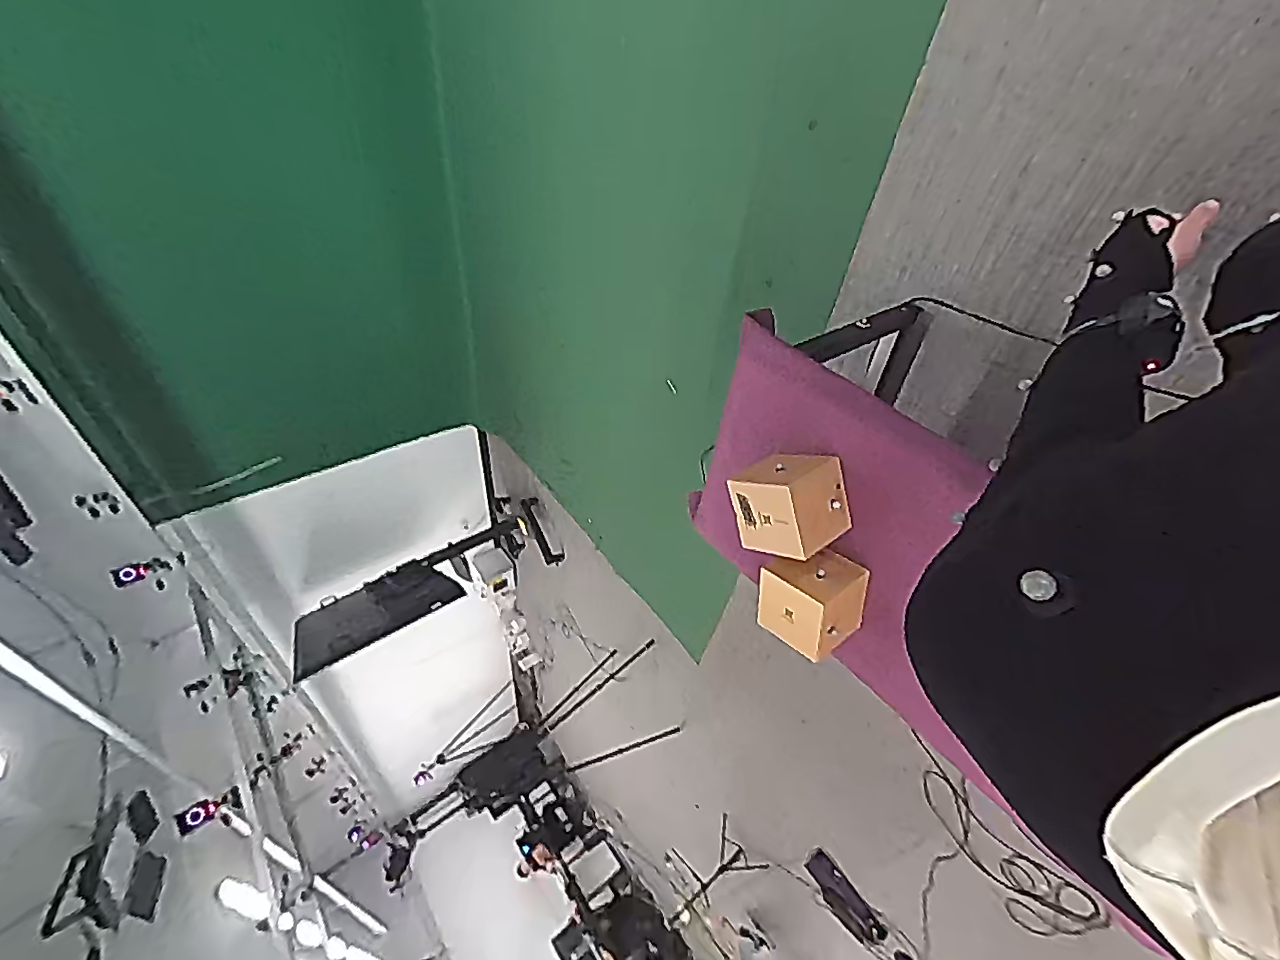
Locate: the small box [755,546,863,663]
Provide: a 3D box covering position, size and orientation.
[{"bbox_3d":[0.383,0.268,1.228,0.168,0.176,0.179,30,135,43],"label":"small box"}]

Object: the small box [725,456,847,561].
[{"bbox_3d":[0.316,0.052,1.170,0.179,0.176,0.168,6,117,54],"label":"small box"}]
